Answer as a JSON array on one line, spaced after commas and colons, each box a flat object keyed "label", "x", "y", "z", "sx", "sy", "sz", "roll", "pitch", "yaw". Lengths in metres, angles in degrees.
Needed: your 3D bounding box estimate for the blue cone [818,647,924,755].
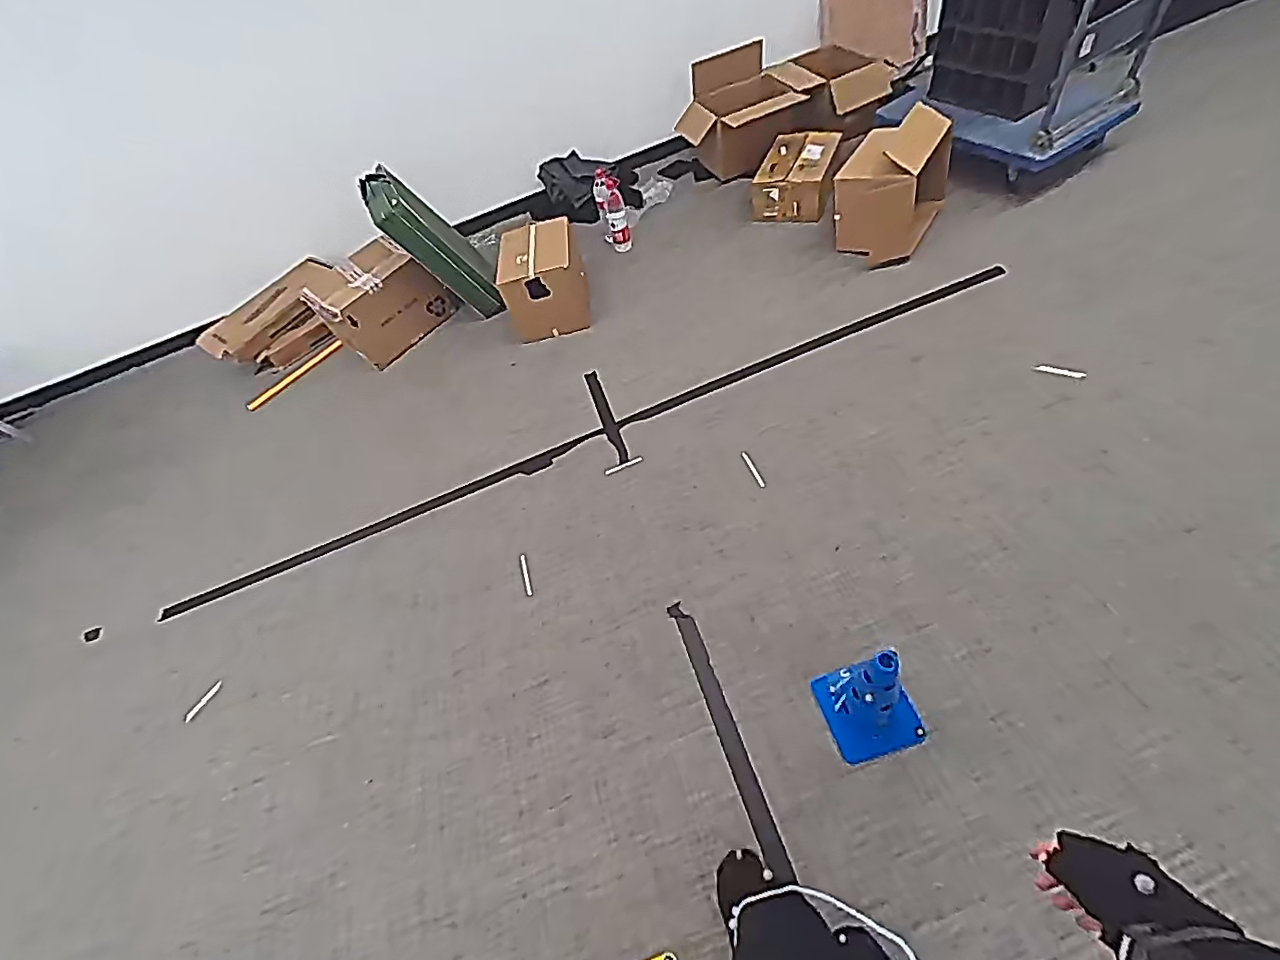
[{"label": "blue cone", "x": 0.502, "y": 0.437, "z": 1.147, "sx": 0.192, "sy": 0.380, "sz": 0.193, "roll": -18, "pitch": 52, "yaw": 1}]
